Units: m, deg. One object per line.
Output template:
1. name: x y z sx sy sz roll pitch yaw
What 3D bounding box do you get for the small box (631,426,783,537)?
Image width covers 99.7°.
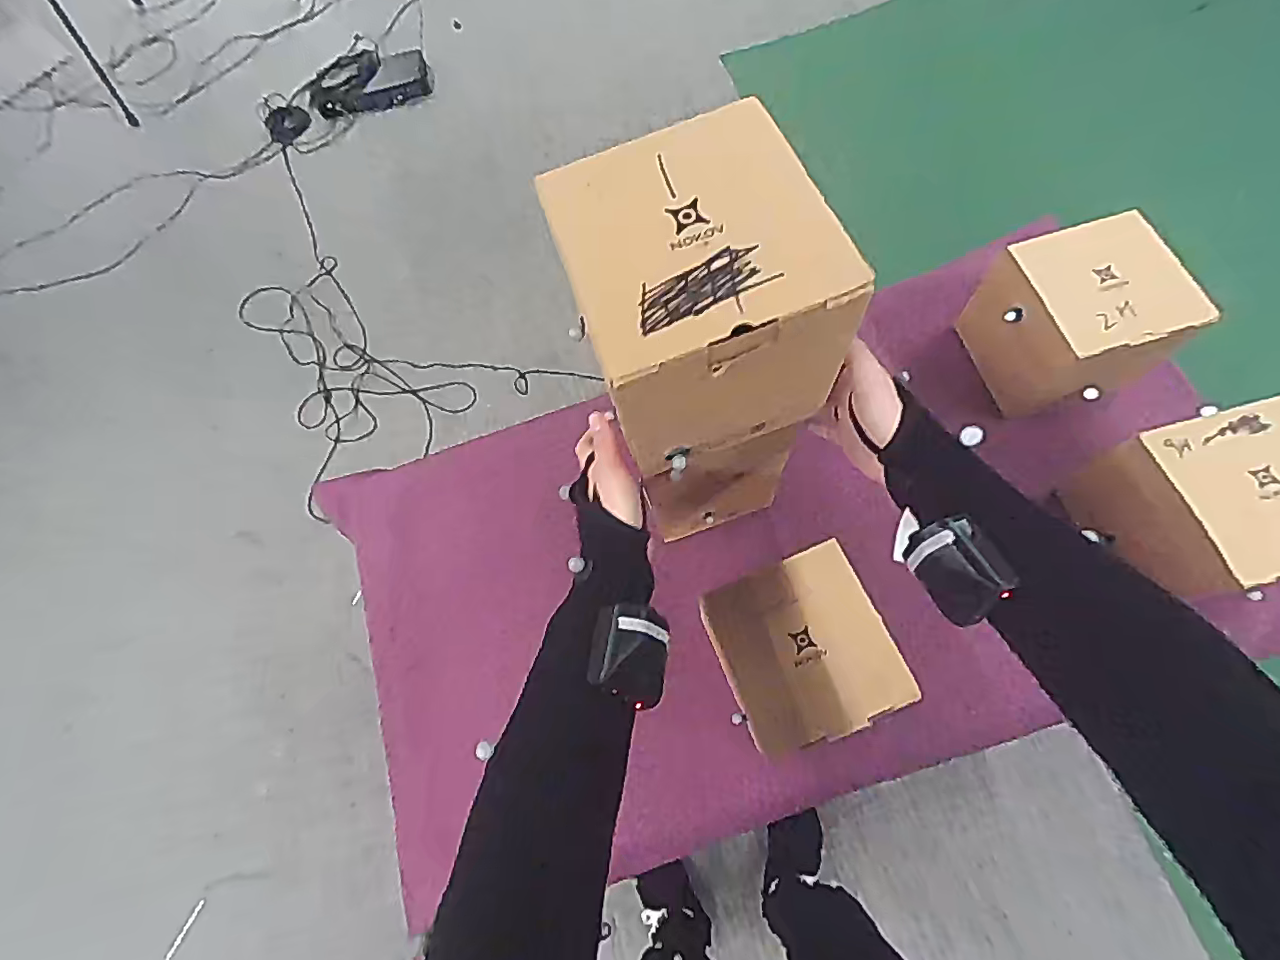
1. small box: 0.072 -0.043 0.724 0.168 0.176 0.179 -20 70 1

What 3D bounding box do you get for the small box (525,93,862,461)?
1. small box: 0.036 -0.129 0.408 0.168 0.176 0.179 -21 70 0

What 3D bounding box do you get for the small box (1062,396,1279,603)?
1. small box: 0.639 0.033 0.609 0.168 0.176 0.179 -15 68 3

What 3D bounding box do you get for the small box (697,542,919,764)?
1. small box: 0.177 0.196 0.621 0.168 0.176 0.179 -22 67 -1

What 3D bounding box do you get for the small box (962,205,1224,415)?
1. small box: 0.564 -0.213 0.708 0.168 0.176 0.179 -15 69 4
